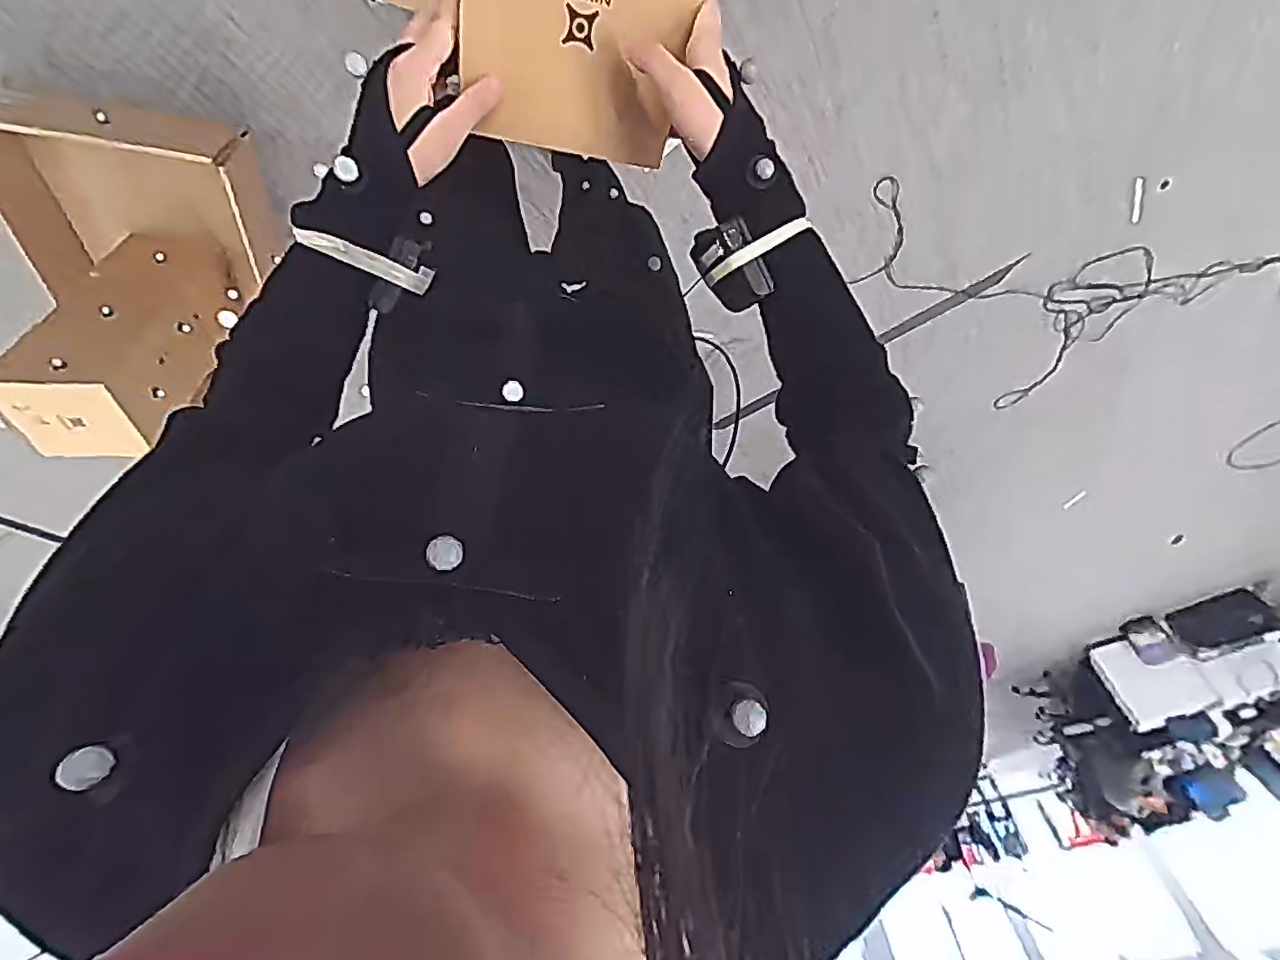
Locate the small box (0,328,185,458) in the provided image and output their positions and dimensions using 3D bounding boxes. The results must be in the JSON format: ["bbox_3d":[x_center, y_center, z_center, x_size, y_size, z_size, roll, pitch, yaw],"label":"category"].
[{"bbox_3d":[-0.962,-0.157,0.966,0.179,0.176,0.168,-1,137,-11],"label":"small box"}]

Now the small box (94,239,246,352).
[{"bbox_3d":[-1.006,-0.403,1.177,0.179,0.176,0.168,2,139,-15],"label":"small box"}]

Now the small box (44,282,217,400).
[{"bbox_3d":[-0.988,-0.277,1.077,0.179,0.176,0.168,0,138,-10],"label":"small box"}]

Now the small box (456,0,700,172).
[{"bbox_3d":[-0.057,-0.386,0.430,0.168,0.176,0.179,1,141,-18],"label":"small box"}]
